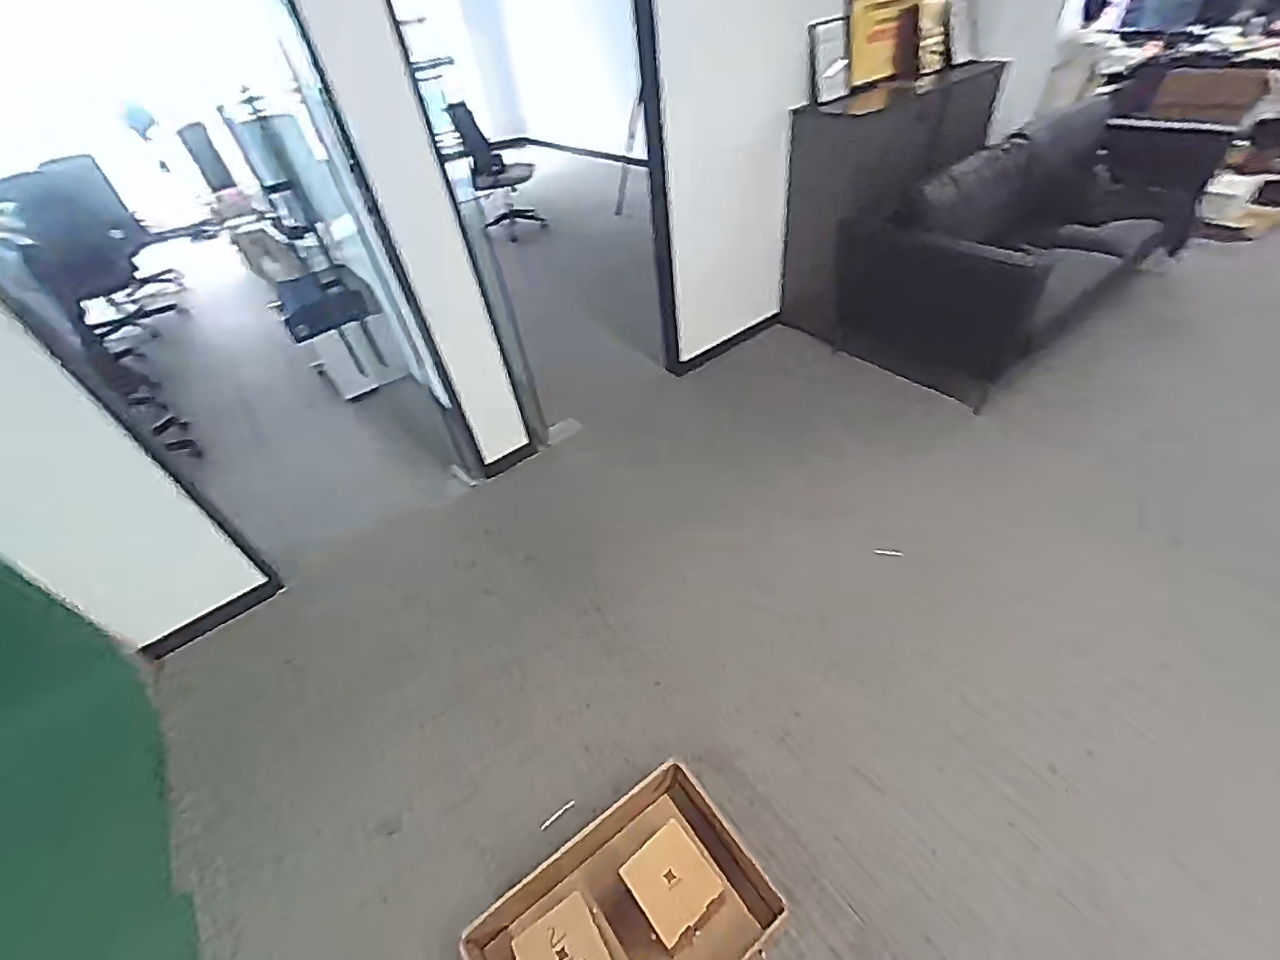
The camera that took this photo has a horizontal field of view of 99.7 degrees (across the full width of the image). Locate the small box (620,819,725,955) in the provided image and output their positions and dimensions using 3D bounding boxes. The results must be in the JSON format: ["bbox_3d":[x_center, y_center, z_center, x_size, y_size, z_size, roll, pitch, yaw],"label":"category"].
[{"bbox_3d":[0.075,0.932,1.236,0.168,0.176,0.179,-32,49,-23],"label":"small box"}]
